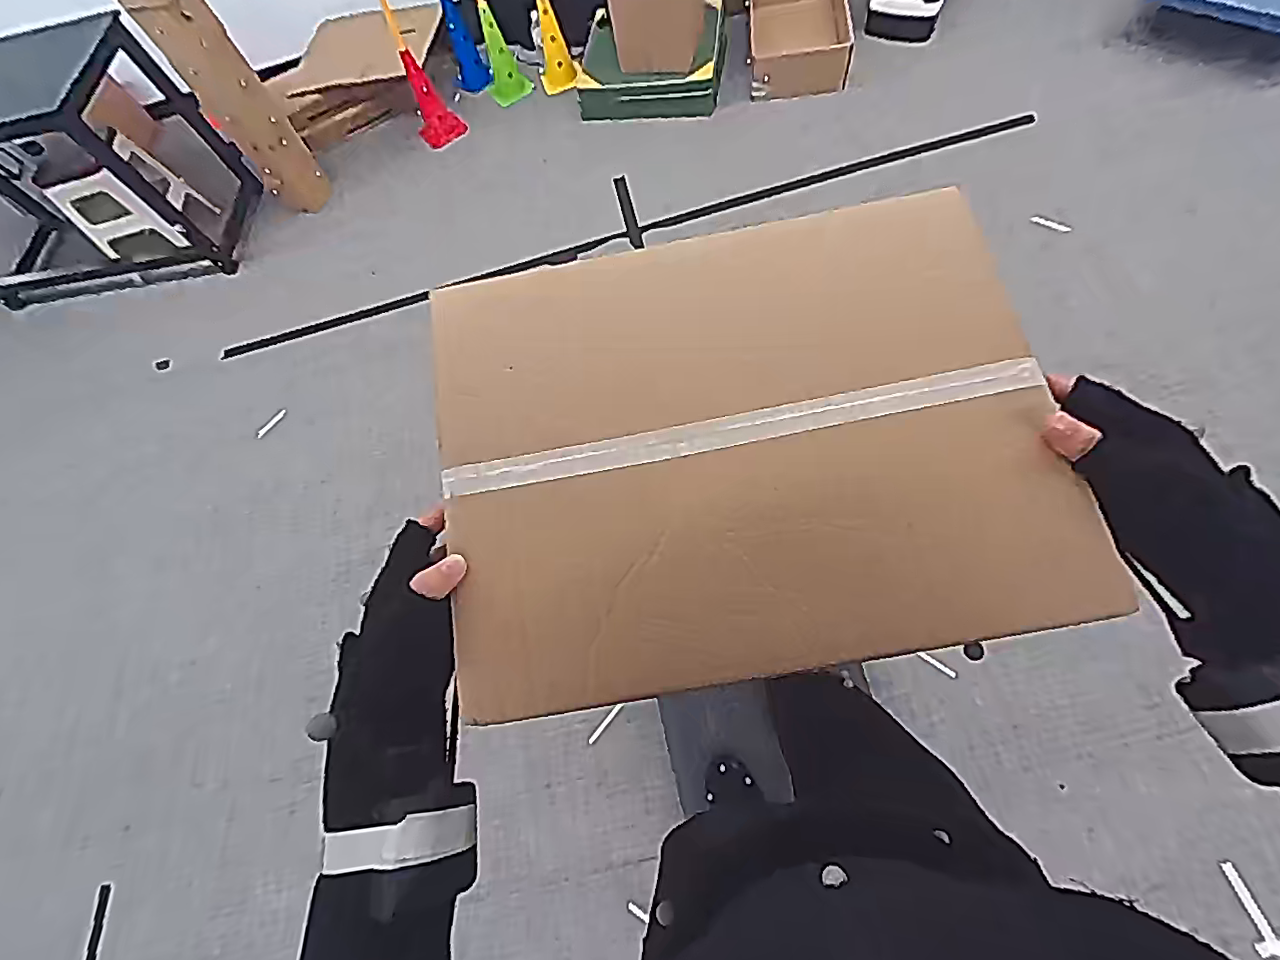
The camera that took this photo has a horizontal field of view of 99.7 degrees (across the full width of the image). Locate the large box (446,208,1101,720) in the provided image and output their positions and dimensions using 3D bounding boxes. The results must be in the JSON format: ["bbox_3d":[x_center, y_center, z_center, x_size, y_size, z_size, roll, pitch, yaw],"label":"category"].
[{"bbox_3d":[0.080,0.009,0.520,0.408,0.320,0.320,-10,73,1],"label":"large box"}]
